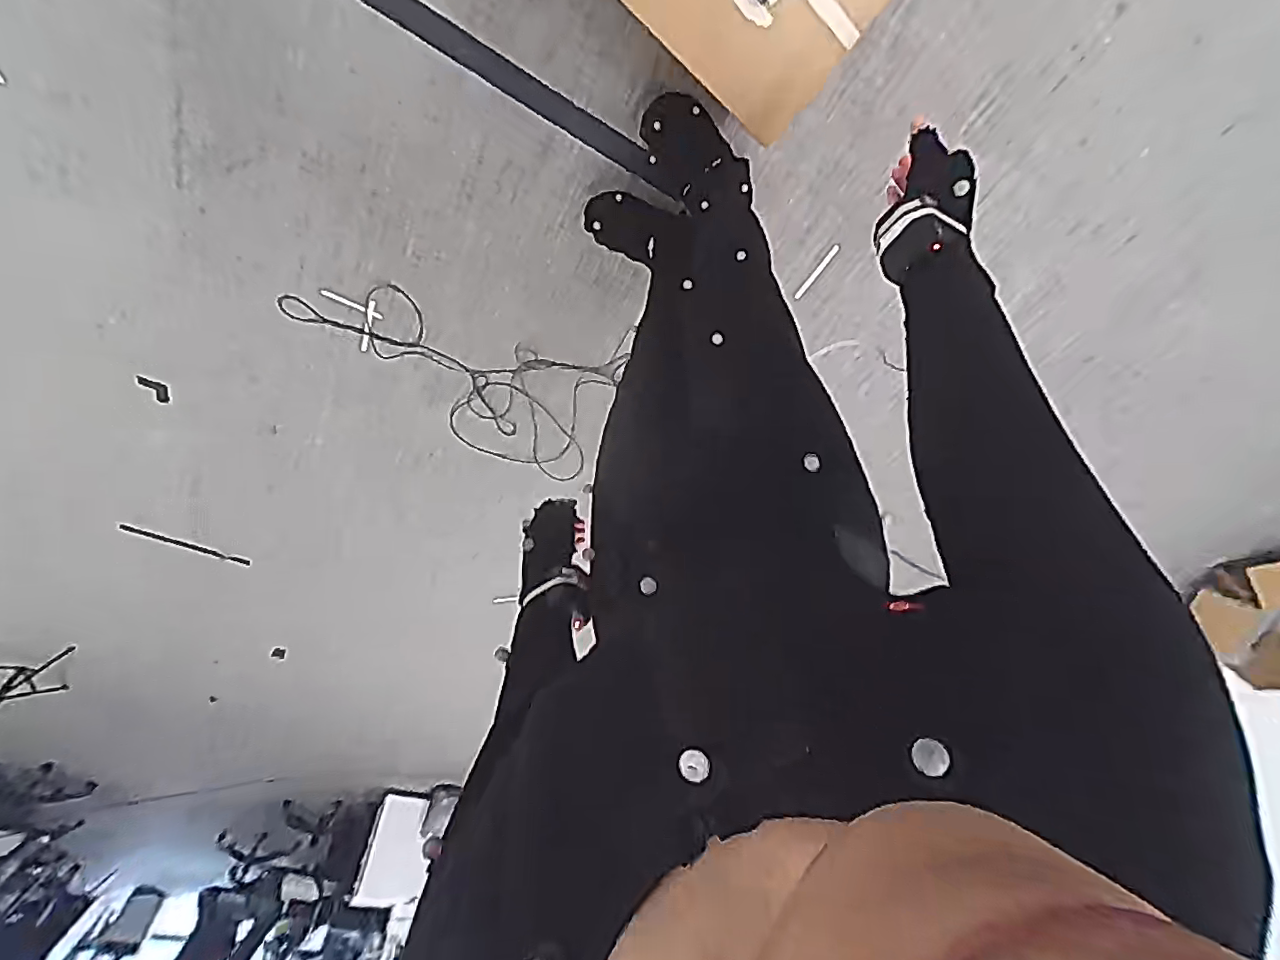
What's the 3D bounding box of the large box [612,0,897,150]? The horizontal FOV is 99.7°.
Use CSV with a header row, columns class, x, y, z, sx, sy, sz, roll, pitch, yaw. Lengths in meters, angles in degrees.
class,x,y,z,sx,sy,sz,roll,pitch,yaw
large box,0.128,-0.767,0.751,0.408,0.320,0.320,28,128,-27
